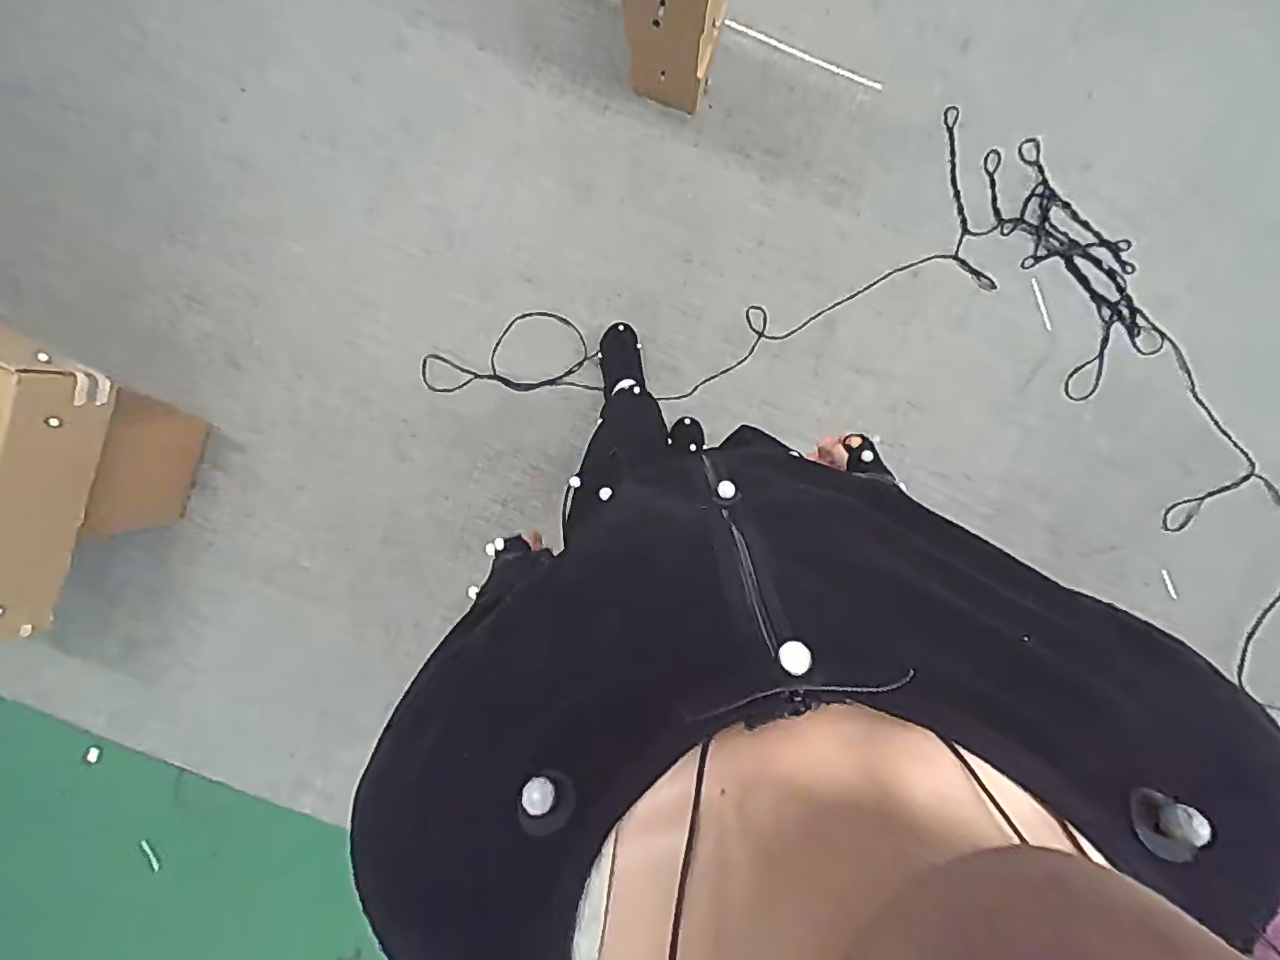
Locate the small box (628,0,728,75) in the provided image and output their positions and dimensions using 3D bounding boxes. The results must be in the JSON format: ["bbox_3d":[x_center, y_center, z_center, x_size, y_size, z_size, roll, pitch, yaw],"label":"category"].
[{"bbox_3d":[0.079,-0.991,1.120,0.179,0.176,0.168,22,99,-1],"label":"small box"}]

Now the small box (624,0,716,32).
[{"bbox_3d":[0.071,-0.953,0.961,0.179,0.176,0.168,20,98,-1],"label":"small box"}]

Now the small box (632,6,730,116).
[{"bbox_3d":[0.094,-1.009,1.282,0.179,0.176,0.168,21,98,-1],"label":"small box"}]
